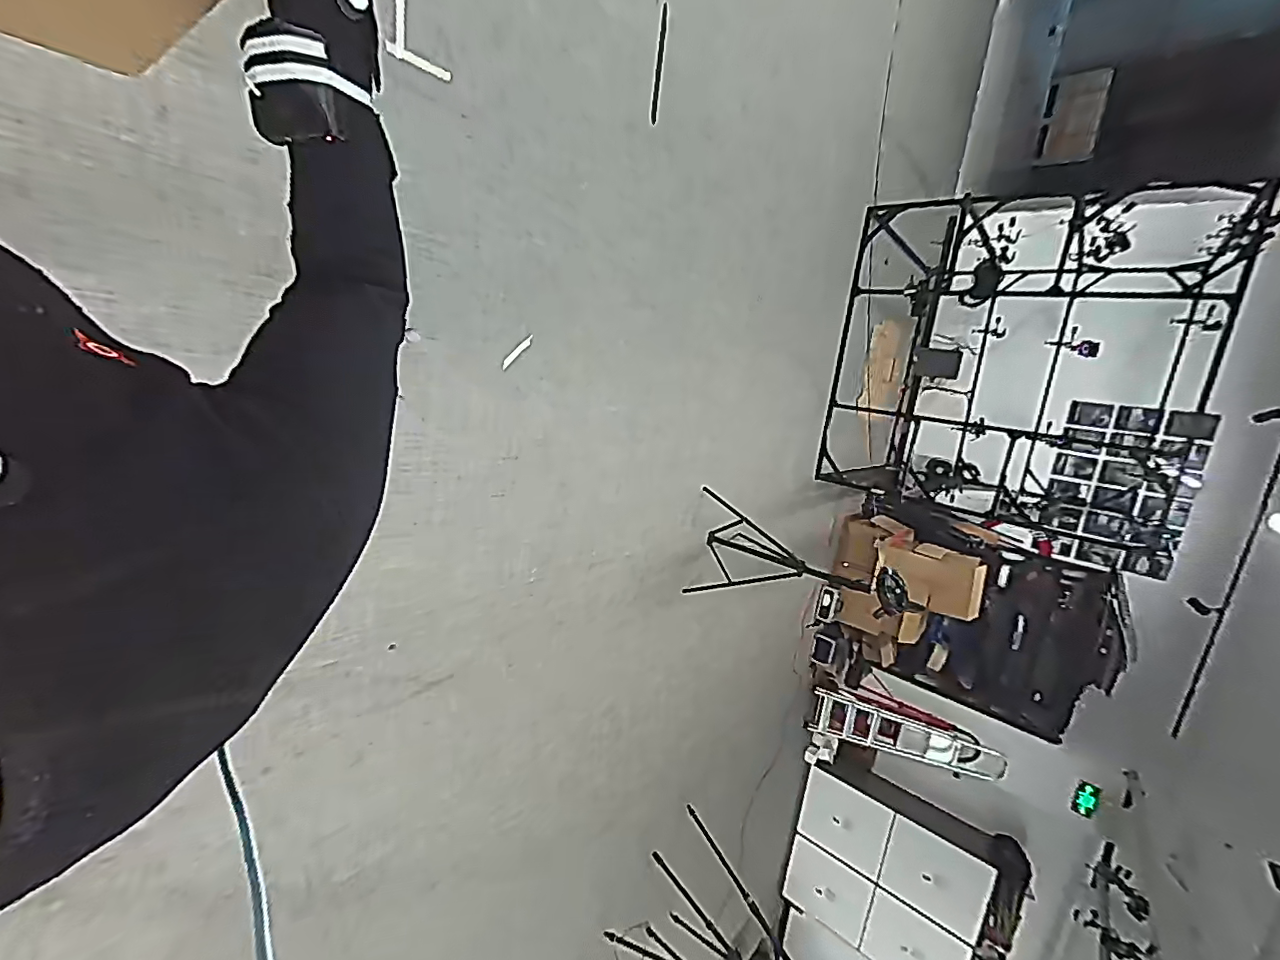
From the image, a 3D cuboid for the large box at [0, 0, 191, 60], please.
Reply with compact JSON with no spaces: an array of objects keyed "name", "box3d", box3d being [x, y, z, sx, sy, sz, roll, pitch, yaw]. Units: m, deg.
[{"name":"large box","box3d":[-0.480,-0.492,0.248,0.408,0.320,0.320,-12,111,-53]}]
